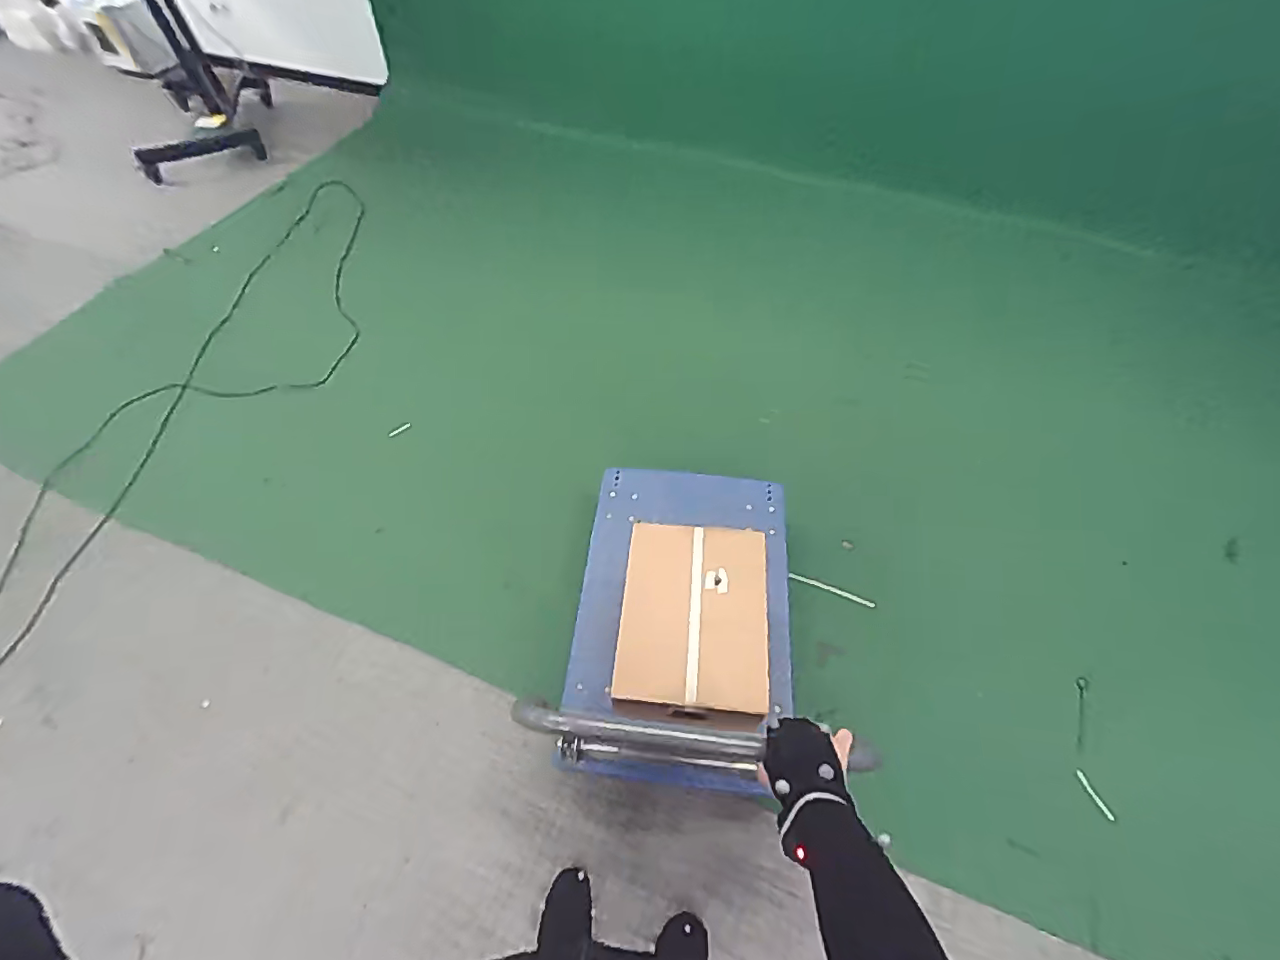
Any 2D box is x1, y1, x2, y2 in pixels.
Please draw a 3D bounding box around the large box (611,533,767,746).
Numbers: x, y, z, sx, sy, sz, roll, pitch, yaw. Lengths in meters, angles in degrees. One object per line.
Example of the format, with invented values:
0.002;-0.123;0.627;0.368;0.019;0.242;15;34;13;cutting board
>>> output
0.115;0.383;1.295;0.320;0.320;0.408;5;54;4;large box
